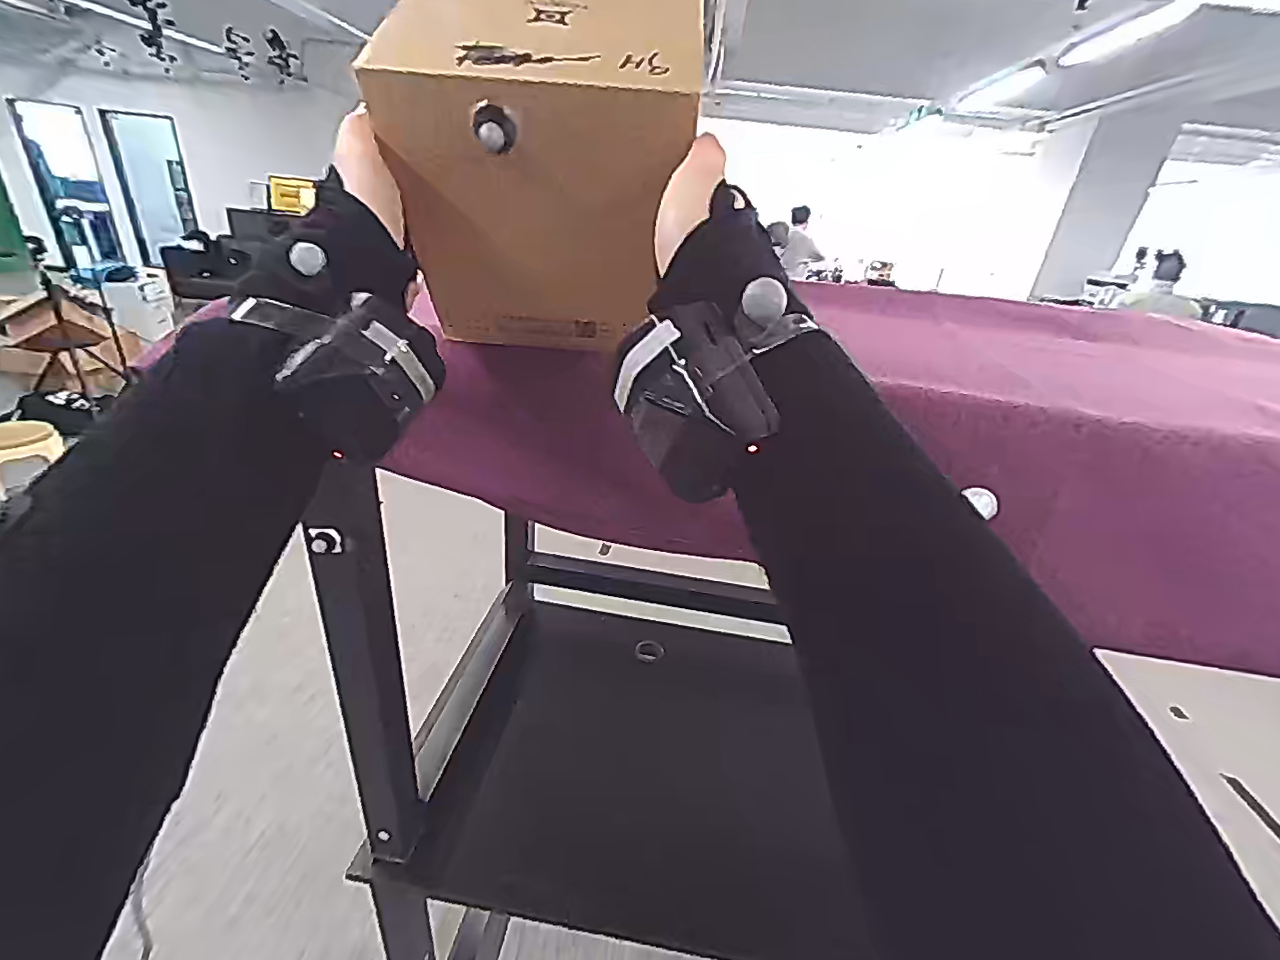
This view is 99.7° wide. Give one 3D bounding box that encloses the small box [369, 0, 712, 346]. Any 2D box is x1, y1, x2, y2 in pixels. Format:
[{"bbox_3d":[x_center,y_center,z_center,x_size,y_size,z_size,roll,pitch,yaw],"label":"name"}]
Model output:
[{"bbox_3d":[-0.045,-0.217,0.365,0.168,0.176,0.179,4,55,1],"label":"small box"}]
